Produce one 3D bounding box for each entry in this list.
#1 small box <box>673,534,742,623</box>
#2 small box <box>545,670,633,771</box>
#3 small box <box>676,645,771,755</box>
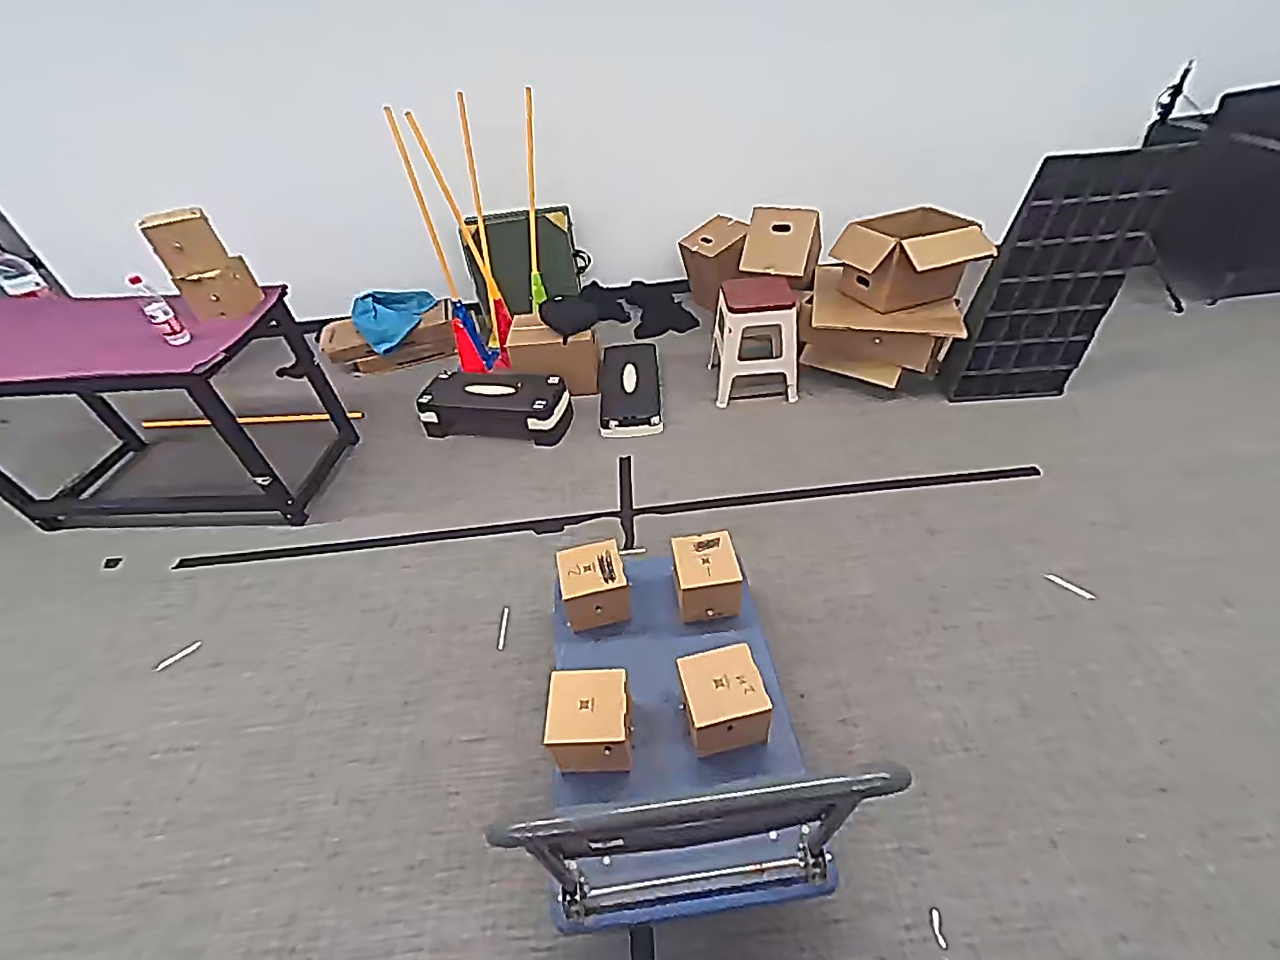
[{"bbox_3d":[0.185,0.278,1.527,0.168,0.176,0.179,-8,44,-2],"label":"small box"},{"bbox_3d":[-0.111,0.563,1.259,0.179,0.176,0.168,-3,43,2],"label":"small box"},{"bbox_3d":[0.192,0.518,1.268,0.179,0.176,0.168,-12,43,-5],"label":"small box"}]
